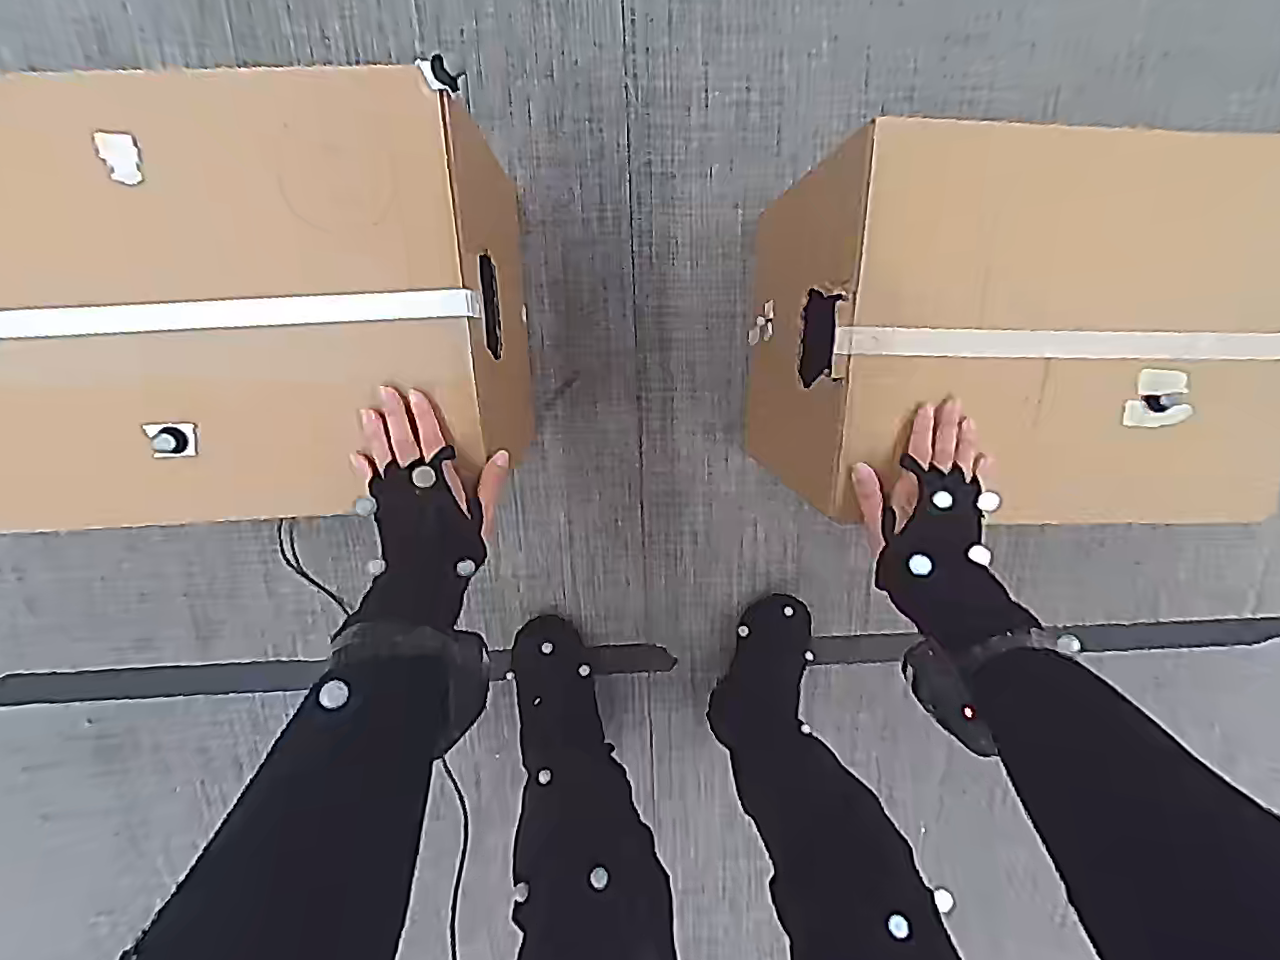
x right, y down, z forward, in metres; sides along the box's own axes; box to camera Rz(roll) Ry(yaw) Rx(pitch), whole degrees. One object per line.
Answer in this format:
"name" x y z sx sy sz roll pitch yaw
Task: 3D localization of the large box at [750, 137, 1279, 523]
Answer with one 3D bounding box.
"large box" 0.359 -0.147 0.603 0.408 0.320 0.320 0 104 -4
